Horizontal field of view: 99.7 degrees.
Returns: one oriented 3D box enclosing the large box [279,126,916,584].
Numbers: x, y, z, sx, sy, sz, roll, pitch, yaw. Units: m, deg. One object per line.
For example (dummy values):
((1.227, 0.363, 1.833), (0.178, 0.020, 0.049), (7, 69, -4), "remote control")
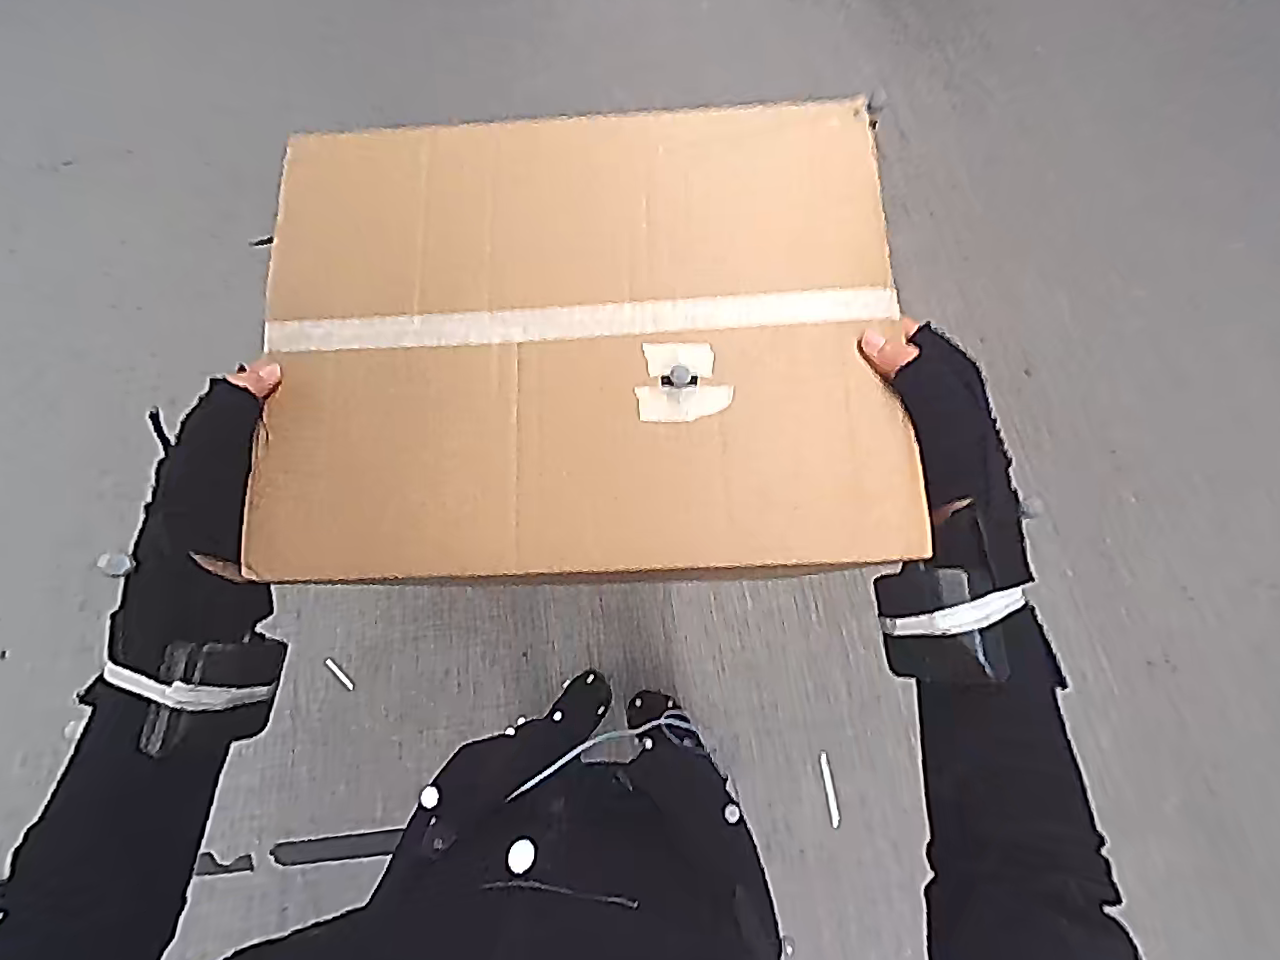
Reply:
((-0.029, -0.067, 0.508), (0.408, 0.320, 0.320), (-1, 79, 2), "large box")
